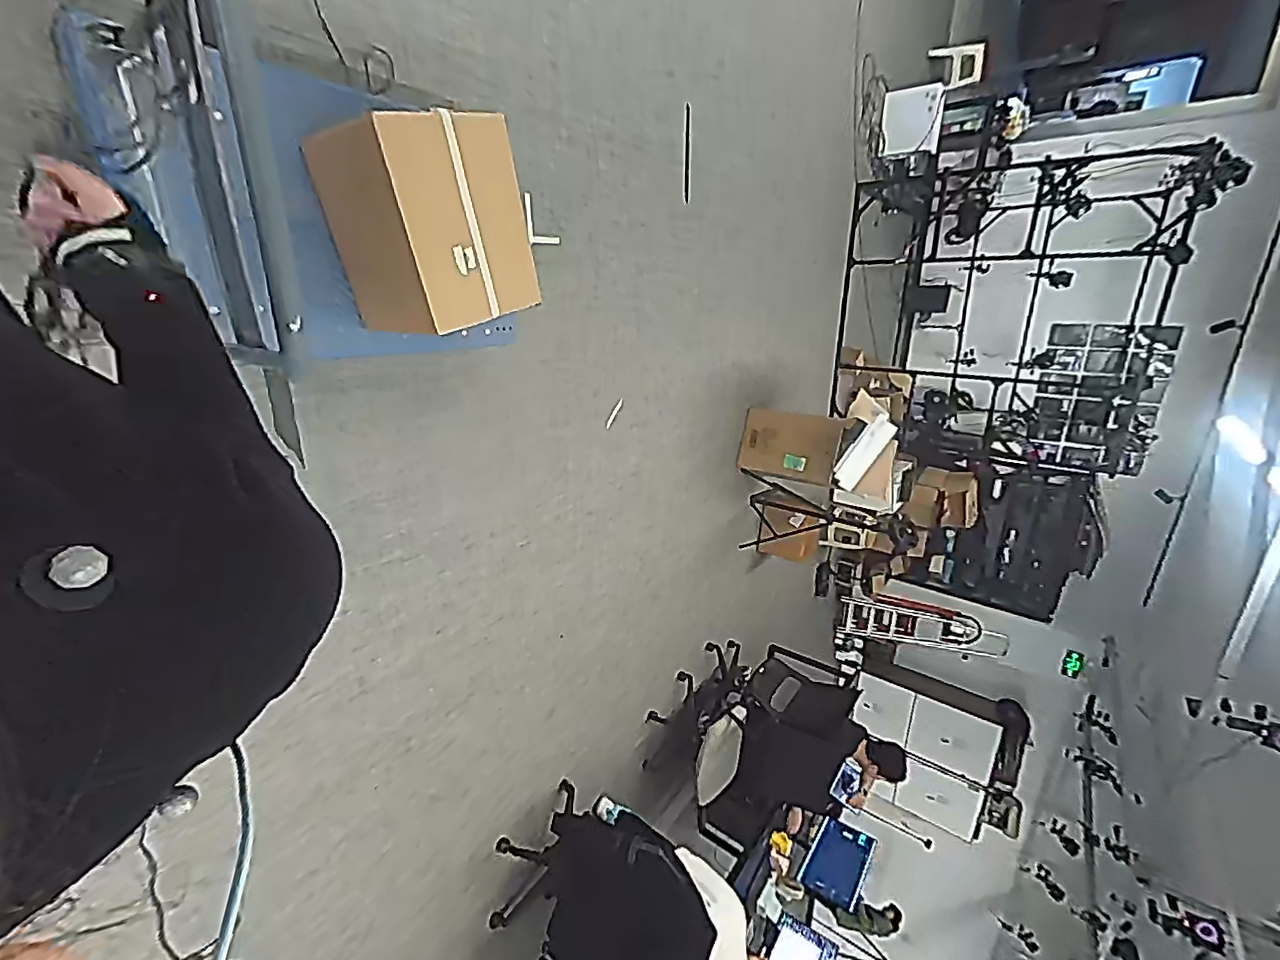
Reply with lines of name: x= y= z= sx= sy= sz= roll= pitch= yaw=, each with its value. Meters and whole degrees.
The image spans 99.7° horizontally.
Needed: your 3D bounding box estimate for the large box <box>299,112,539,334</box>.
large box: x=-0.486 y=-0.580 z=1.238 sx=0.320 sy=0.320 sz=0.408 roll=-36 pitch=130 yaw=-42
